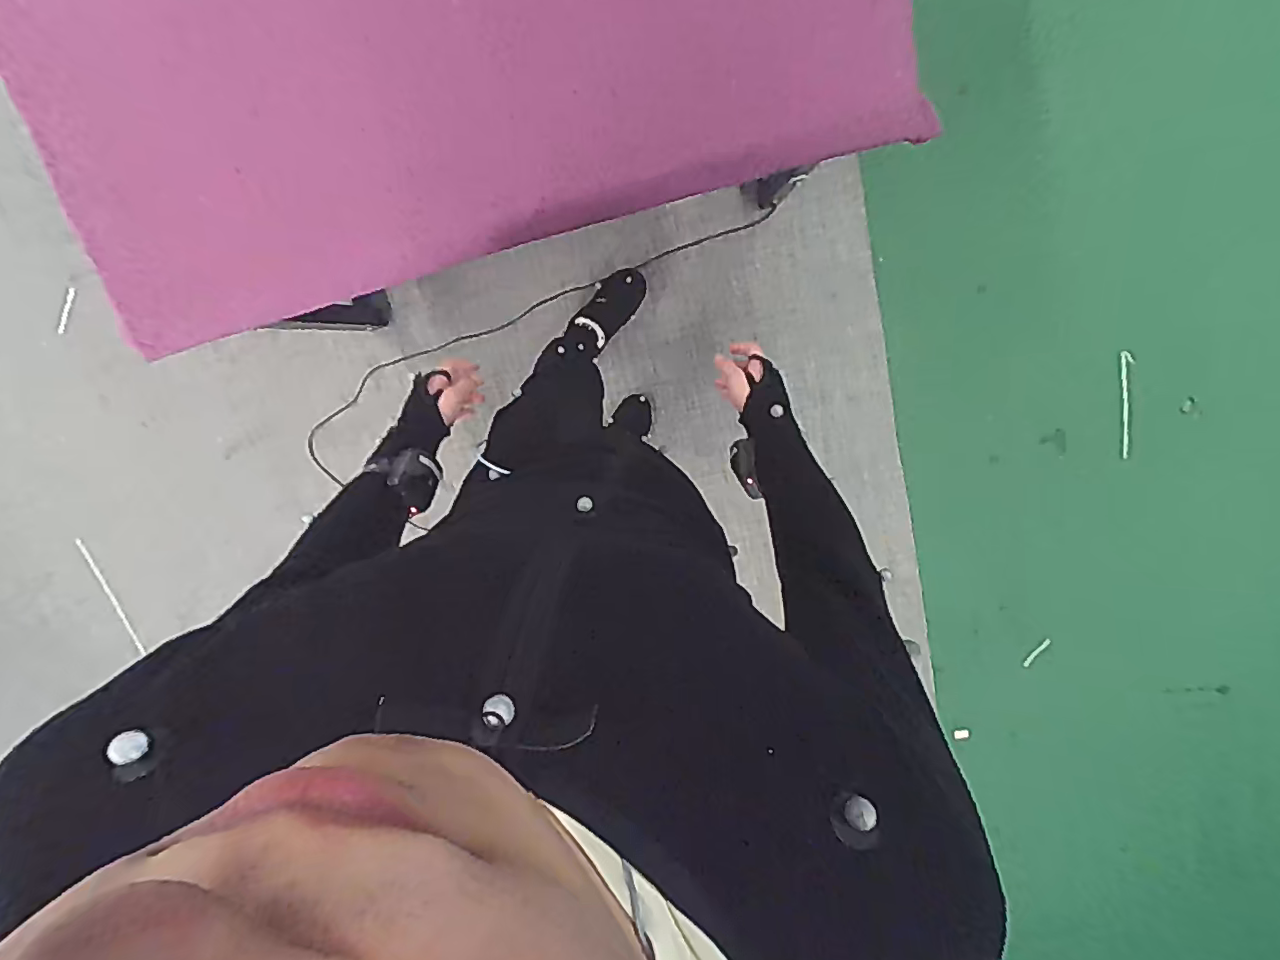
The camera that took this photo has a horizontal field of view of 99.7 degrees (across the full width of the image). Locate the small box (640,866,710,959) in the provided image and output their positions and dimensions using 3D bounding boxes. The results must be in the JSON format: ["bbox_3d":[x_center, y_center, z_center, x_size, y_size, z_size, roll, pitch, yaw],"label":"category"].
[{"bbox_3d":[0.089,1.150,1.416,0.168,0.176,0.179,-7,104,3],"label":"small box"}]
